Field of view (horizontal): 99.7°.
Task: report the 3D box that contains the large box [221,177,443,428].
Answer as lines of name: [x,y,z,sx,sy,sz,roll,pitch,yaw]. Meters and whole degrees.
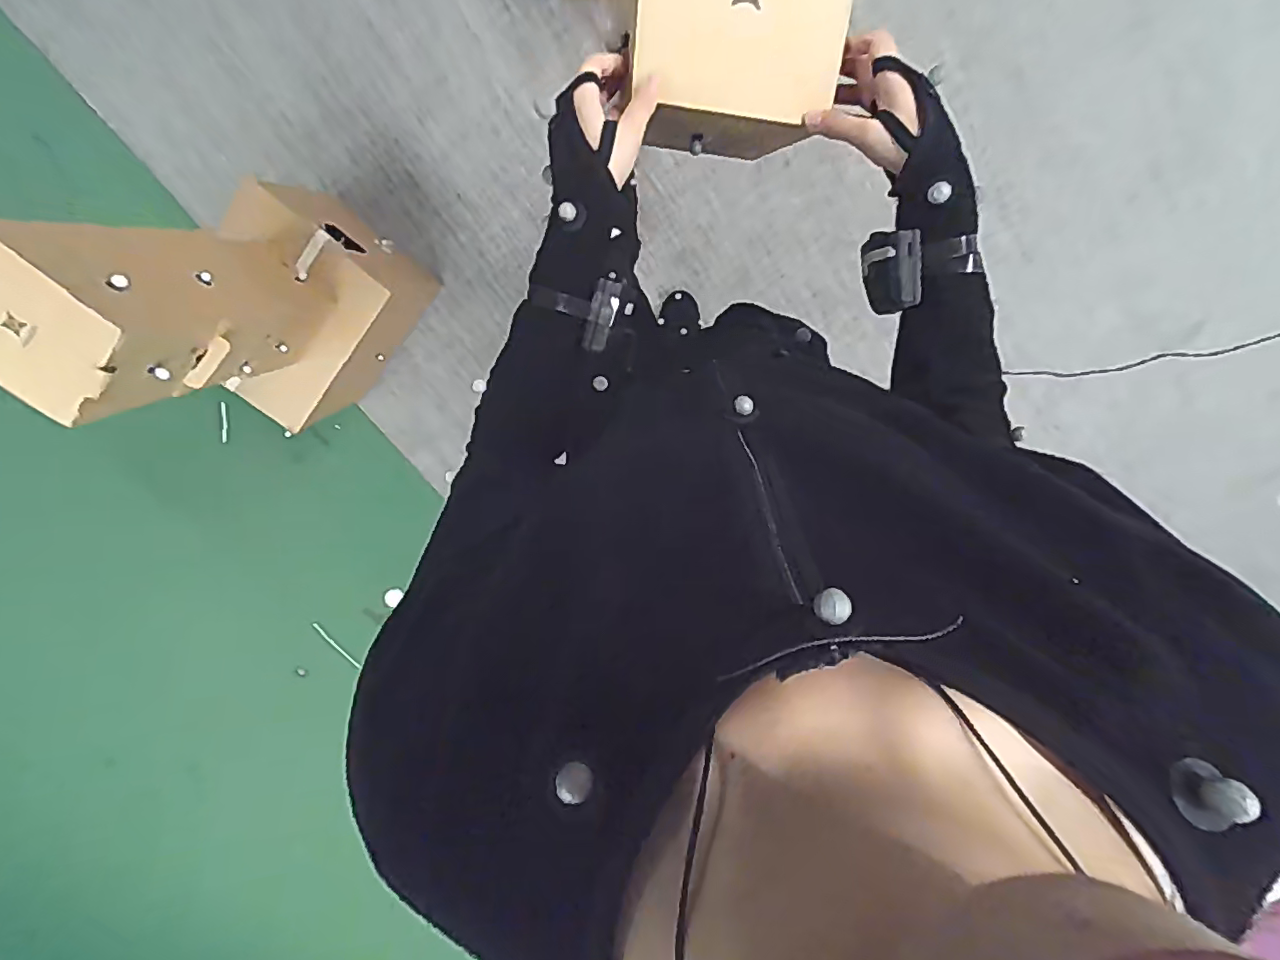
large box: [-0.729,-0.400,1.240,0.320,0.320,0.408,40,108,-13]

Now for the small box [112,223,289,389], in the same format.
small box: [-0.707,-0.276,0.850,0.168,0.176,0.179,-41,107,15]

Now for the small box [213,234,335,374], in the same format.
small box: [-0.712,-0.328,1.005,0.168,0.176,0.179,42,106,-17]

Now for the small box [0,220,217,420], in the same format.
small box: [-0.711,-0.212,0.698,0.168,0.176,0.179,-43,108,15]

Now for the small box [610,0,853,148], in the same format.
small box: [0.069,-0.404,0.462,0.168,0.176,0.179,2,112,-12]
